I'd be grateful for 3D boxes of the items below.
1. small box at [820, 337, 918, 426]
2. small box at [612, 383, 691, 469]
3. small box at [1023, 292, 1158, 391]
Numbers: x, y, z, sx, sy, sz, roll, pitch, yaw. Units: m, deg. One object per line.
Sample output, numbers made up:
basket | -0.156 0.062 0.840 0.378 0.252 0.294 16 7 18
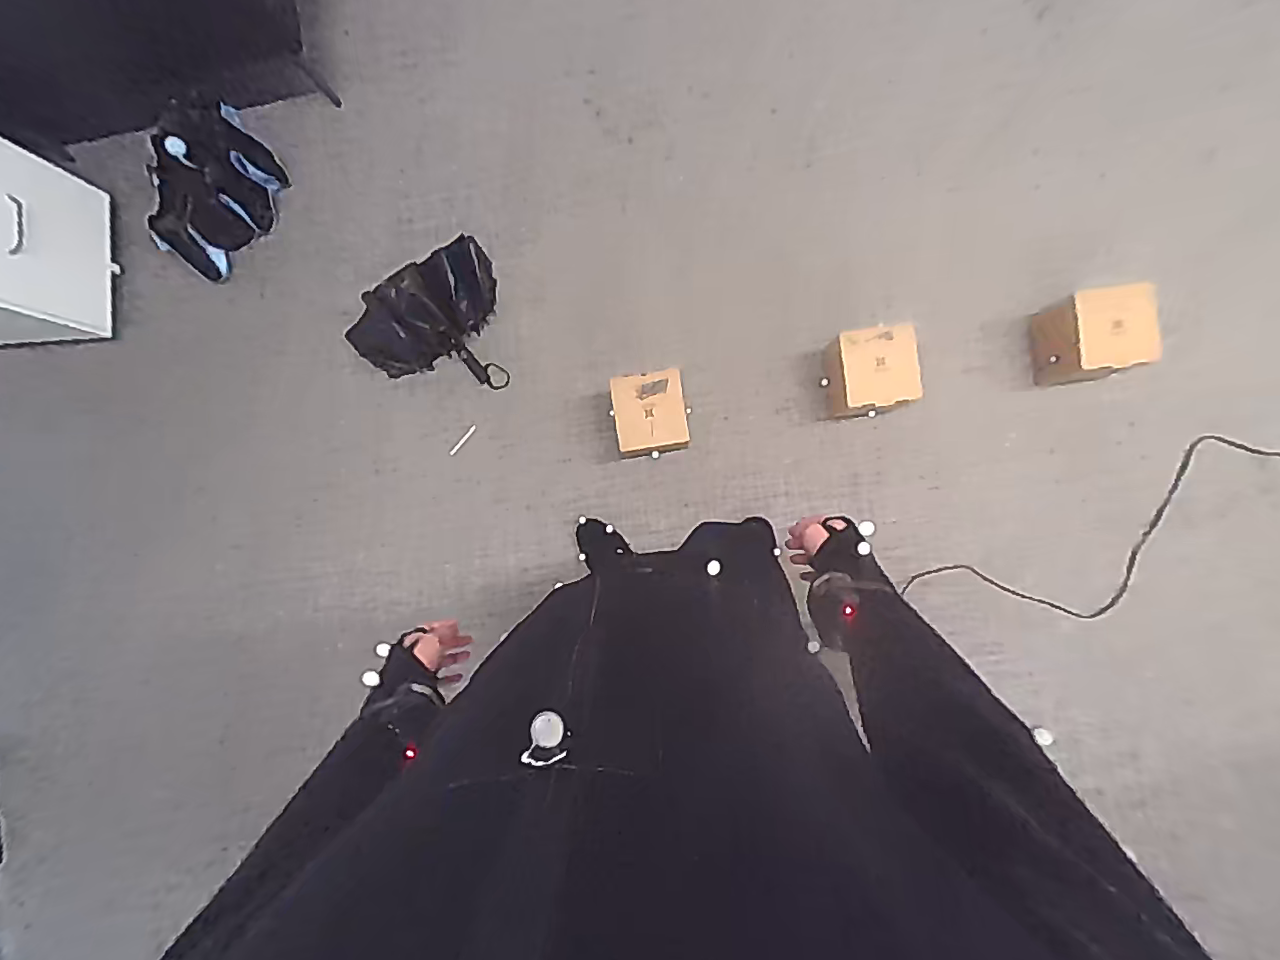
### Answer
small box | 0.543 -0.228 1.300 0.168 0.176 0.179 -7 88 5
small box | 0.031 -0.128 1.342 0.168 0.176 0.179 -10 88 5
small box | 1.035 -0.311 1.257 0.168 0.176 0.179 -8 86 4
